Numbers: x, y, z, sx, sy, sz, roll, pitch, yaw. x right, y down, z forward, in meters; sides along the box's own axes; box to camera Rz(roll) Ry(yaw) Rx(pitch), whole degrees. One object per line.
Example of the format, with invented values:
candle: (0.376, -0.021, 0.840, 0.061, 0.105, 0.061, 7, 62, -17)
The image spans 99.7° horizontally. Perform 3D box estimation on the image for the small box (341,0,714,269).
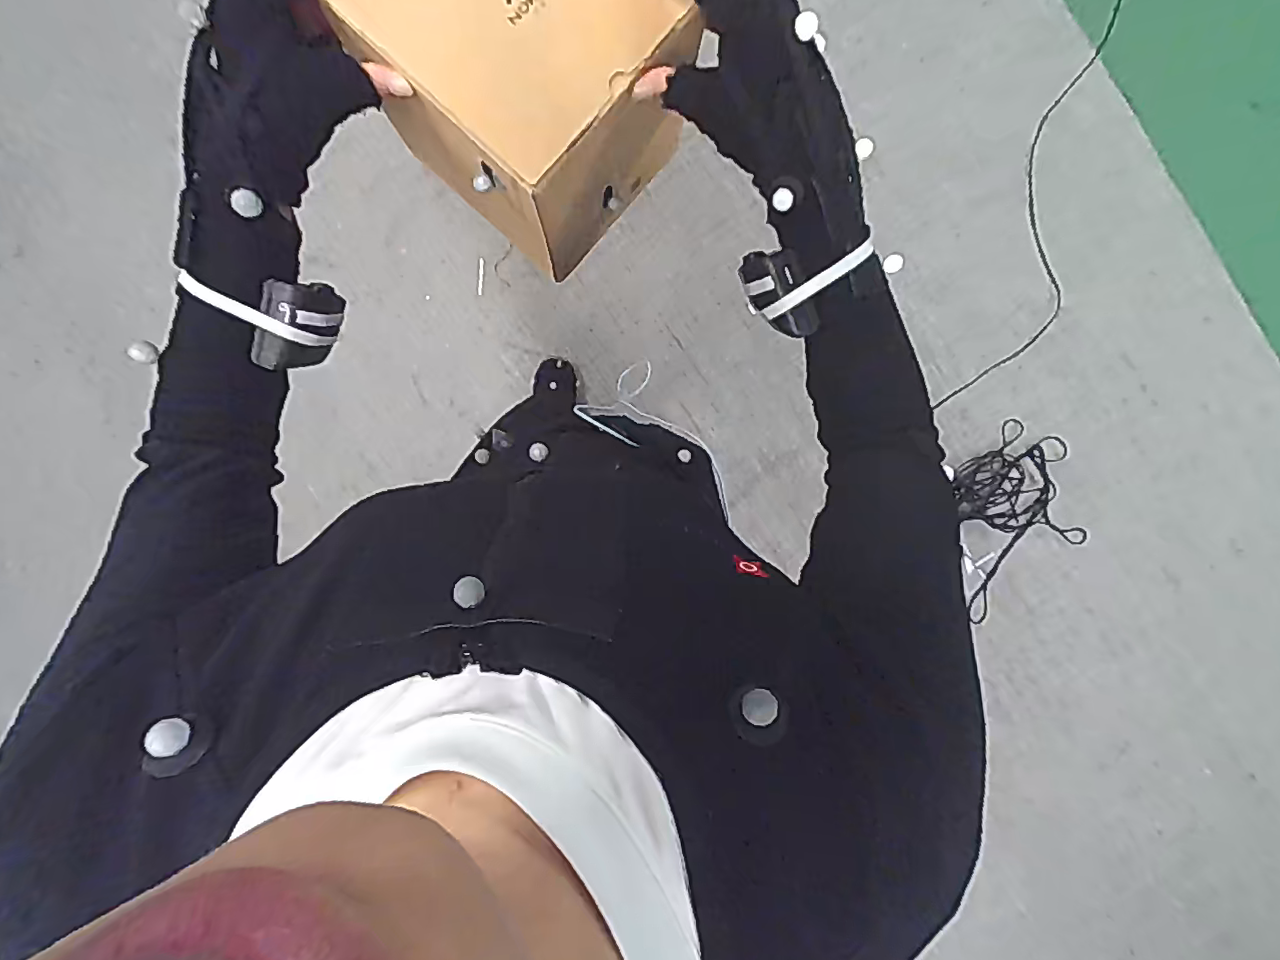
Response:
small box: (-0.076, -0.297, 0.408, 0.179, 0.176, 0.168, 42, 88, -5)
